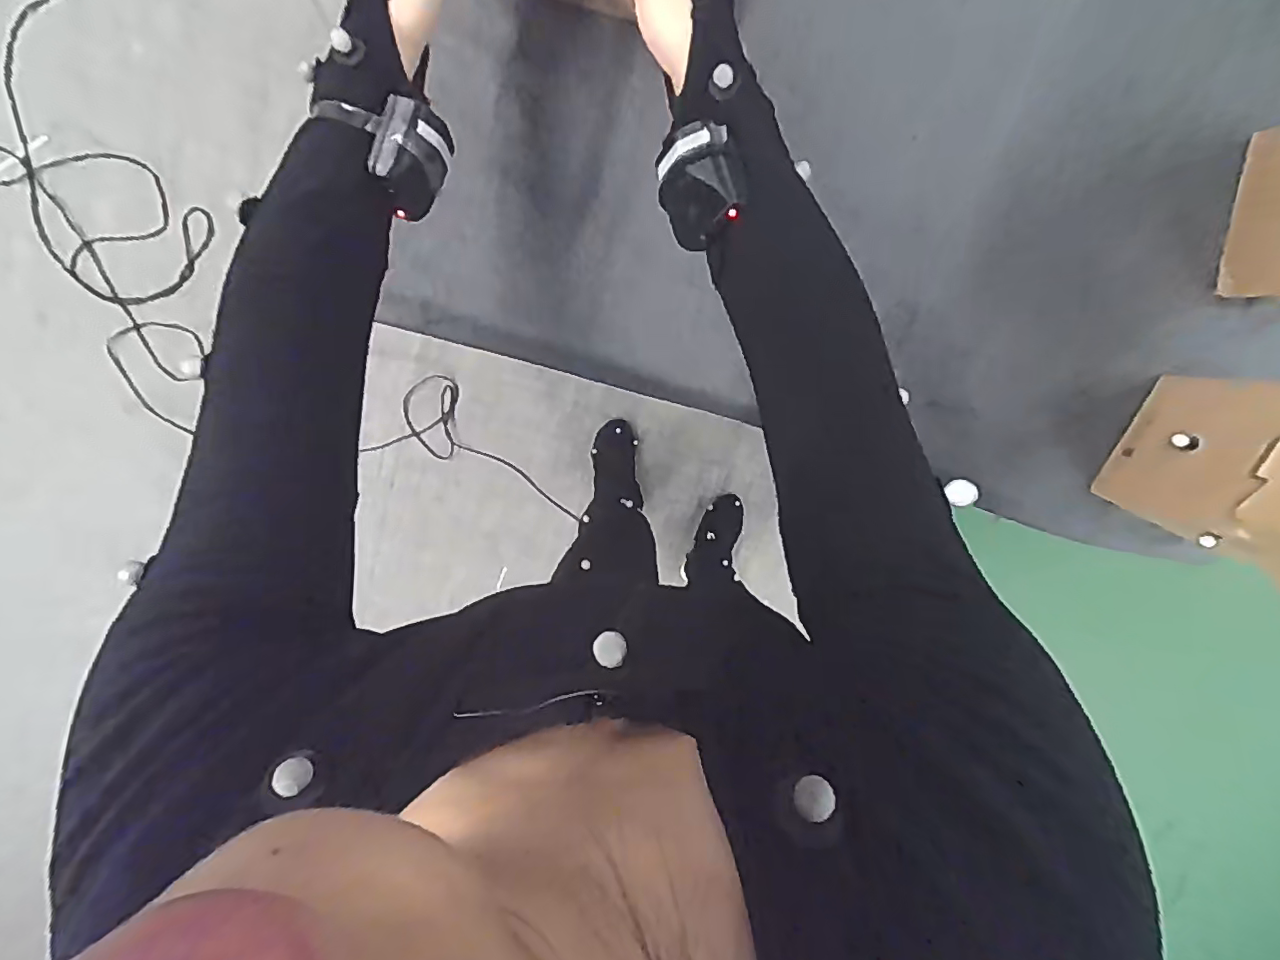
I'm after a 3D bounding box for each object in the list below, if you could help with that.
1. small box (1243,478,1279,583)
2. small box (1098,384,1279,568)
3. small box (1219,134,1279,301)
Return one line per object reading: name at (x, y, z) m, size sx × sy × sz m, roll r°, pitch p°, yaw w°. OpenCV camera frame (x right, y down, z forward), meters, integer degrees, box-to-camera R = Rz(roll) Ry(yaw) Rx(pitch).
small box at (0.706, 0.053, 0.467) m, size 0.168 × 0.176 × 0.179 m, roll -44°, pitch 103°, yaw 7°
small box at (0.697, -0.002, 0.621) m, size 0.179 × 0.176 × 0.168 m, roll 23°, pitch 101°, yaw -8°
small box at (0.763, -0.277, 0.547) m, size 0.168 × 0.176 × 0.179 m, roll -3°, pitch 109°, yaw 1°
